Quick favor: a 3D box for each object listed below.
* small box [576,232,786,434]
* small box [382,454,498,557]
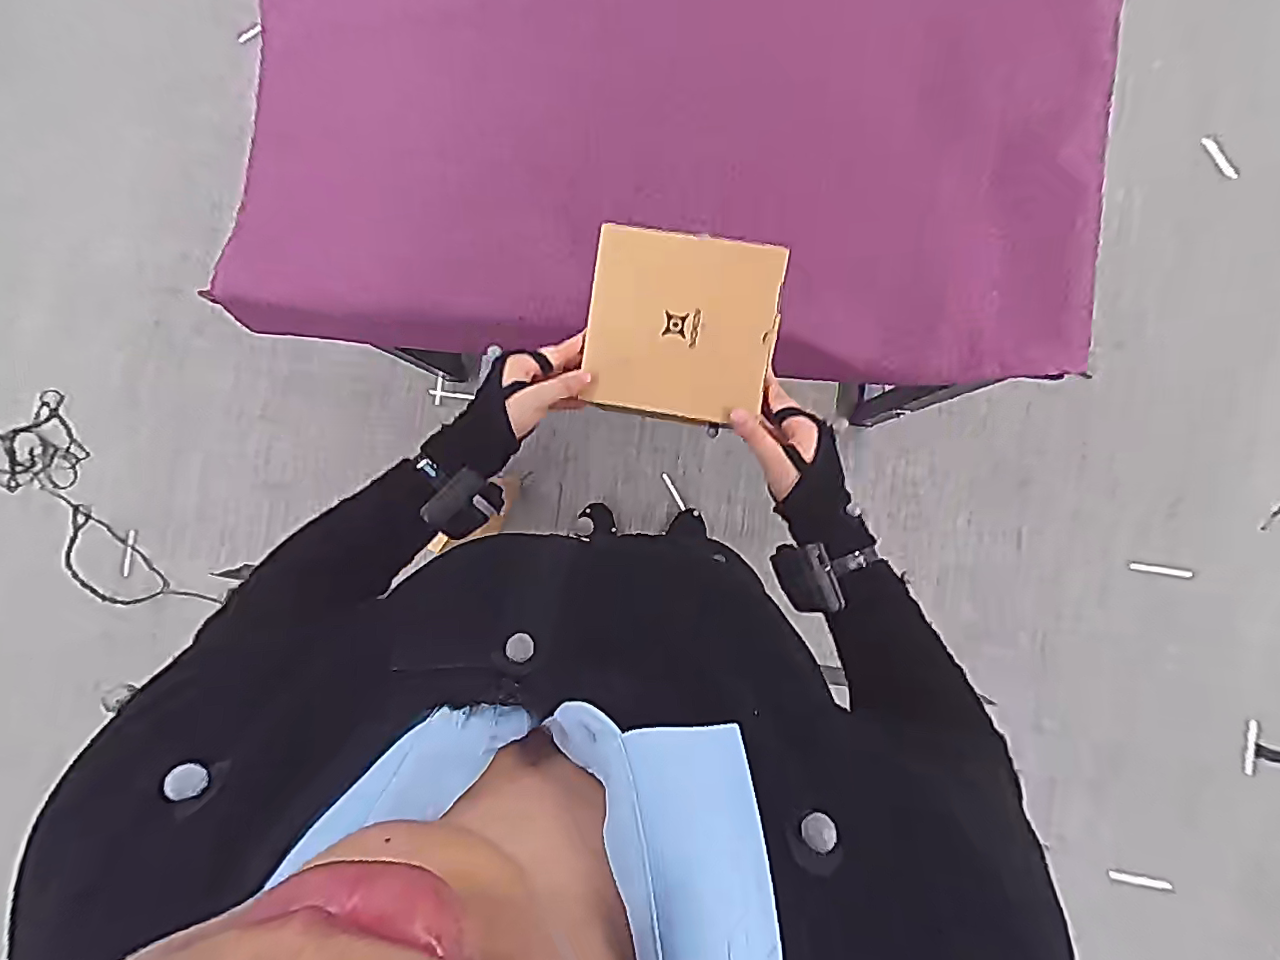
[{"bbox_3d":[0.042,-0.143,0.583,0.179,0.176,0.168,9,94,3],"label":"small box"},{"bbox_3d":[-0.462,0.057,1.287,0.168,0.176,0.179,35,92,4],"label":"small box"}]
